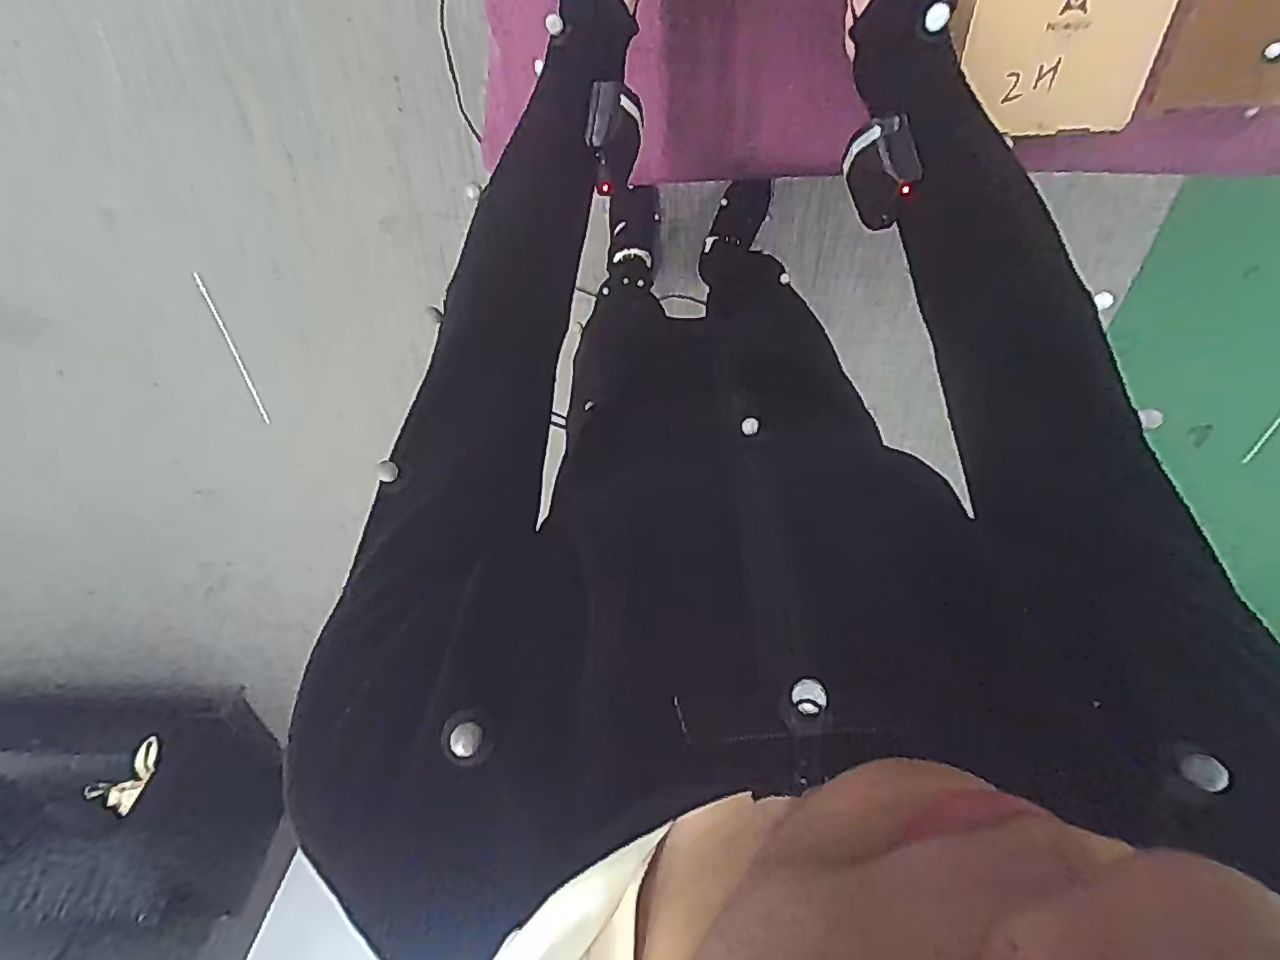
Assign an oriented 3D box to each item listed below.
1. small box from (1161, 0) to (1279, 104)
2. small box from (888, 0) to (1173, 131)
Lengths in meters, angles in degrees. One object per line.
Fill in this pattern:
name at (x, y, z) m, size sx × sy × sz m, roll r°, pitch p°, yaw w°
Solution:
small box at (0.656, -0.455, 0.497) m, size 0.168 × 0.176 × 0.179 m, roll 0°, pitch 126°, yaw 2°
small box at (0.360, -0.440, 0.516) m, size 0.168 × 0.176 × 0.179 m, roll 0°, pitch 125°, yaw 3°
